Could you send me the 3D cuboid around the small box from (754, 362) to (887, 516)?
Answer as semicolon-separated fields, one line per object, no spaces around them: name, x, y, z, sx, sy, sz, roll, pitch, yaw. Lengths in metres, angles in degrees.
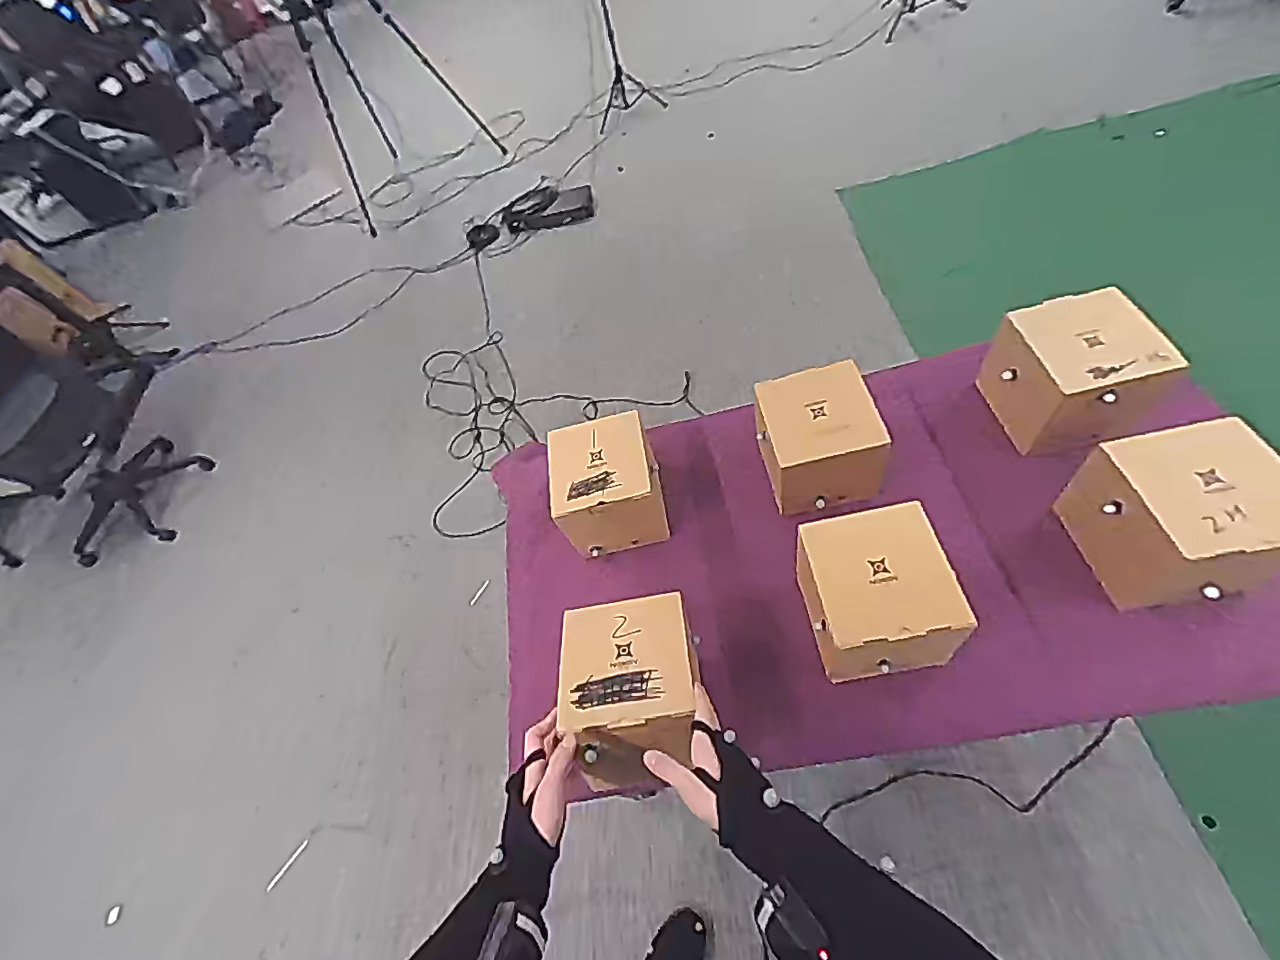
small box;0.292;-0.065;0.911;0.168;0.176;0.179;-13;57;8

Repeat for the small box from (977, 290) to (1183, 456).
small box;0.679;-0.165;0.867;0.168;0.176;0.179;-13;56;7

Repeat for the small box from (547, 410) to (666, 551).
small box;-0.056;0.011;0.953;0.168;0.176;0.179;-13;55;6

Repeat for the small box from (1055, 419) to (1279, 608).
small box;0.705;0.050;0.719;0.168;0.176;0.179;-12;55;9
